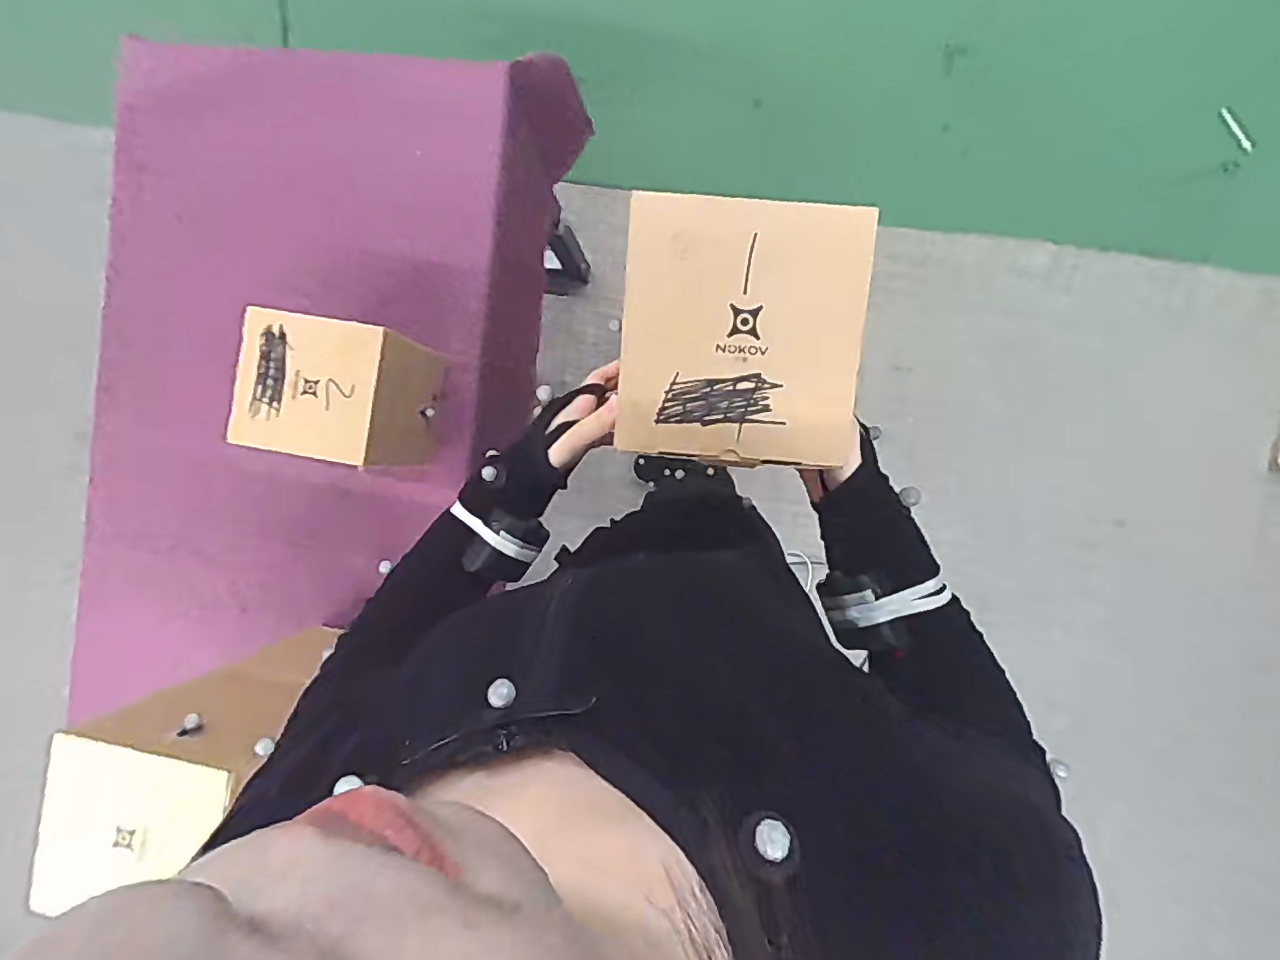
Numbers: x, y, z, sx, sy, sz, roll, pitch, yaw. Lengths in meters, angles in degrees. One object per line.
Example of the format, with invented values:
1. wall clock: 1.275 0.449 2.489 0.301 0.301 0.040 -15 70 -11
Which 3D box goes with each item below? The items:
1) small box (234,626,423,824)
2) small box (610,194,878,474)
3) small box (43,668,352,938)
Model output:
1. small box: -0.416 0.311 0.728 0.168 0.176 0.179 9 92 7
2. small box: 0.071 -0.109 0.447 0.168 0.176 0.179 5 99 1
3. small box: -0.443 0.314 0.568 0.179 0.176 0.168 9 91 5
